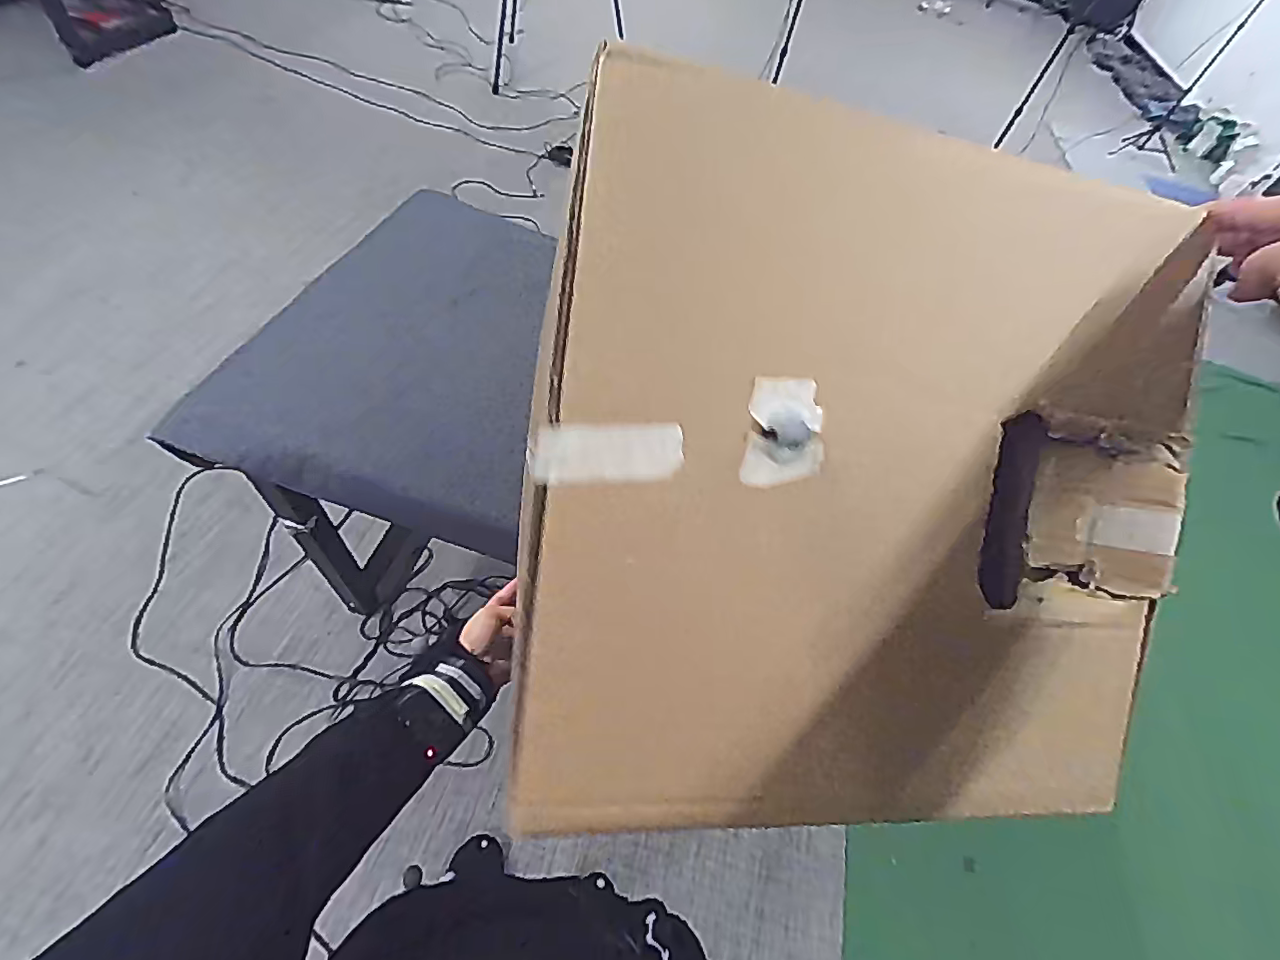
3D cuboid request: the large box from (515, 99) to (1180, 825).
[{"bbox_3d":[0.071,-0.013,0.439,0.320,0.408,0.320,5,95,-15],"label":"large box"}]
